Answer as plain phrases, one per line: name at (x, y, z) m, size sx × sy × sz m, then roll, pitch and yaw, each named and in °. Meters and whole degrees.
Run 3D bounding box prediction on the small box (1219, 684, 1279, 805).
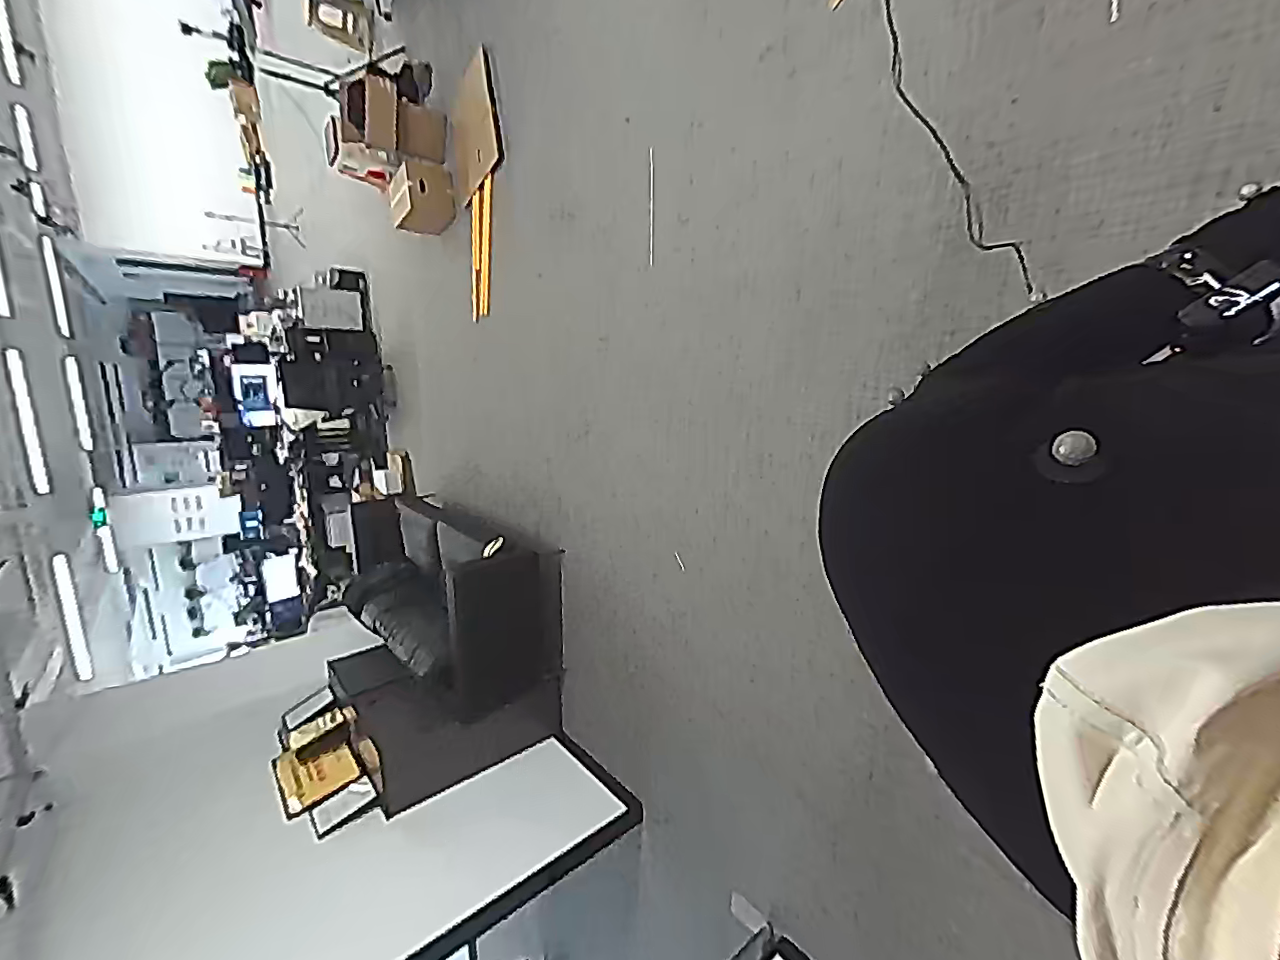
small box at (1.287, 0.530, 1.058) m, size 0.179 × 0.176 × 0.168 m, roll 18°, pitch 111°, yaw 47°
